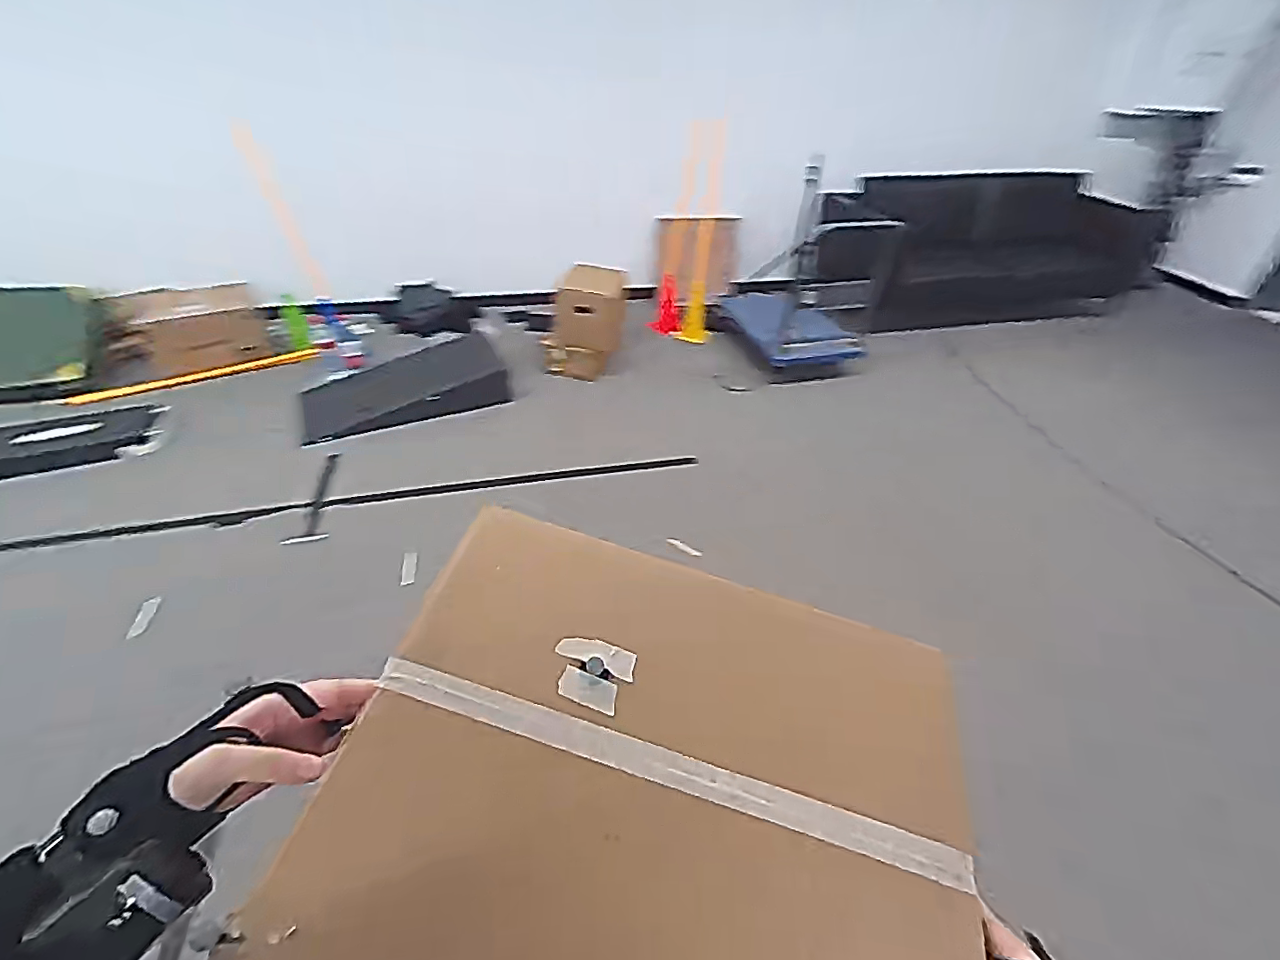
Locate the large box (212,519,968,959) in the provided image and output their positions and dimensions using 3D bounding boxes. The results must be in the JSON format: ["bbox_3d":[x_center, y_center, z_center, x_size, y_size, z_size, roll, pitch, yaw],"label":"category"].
[{"bbox_3d":[-0.008,0.287,0.462,0.408,0.320,0.320,16,49,4],"label":"large box"}]
